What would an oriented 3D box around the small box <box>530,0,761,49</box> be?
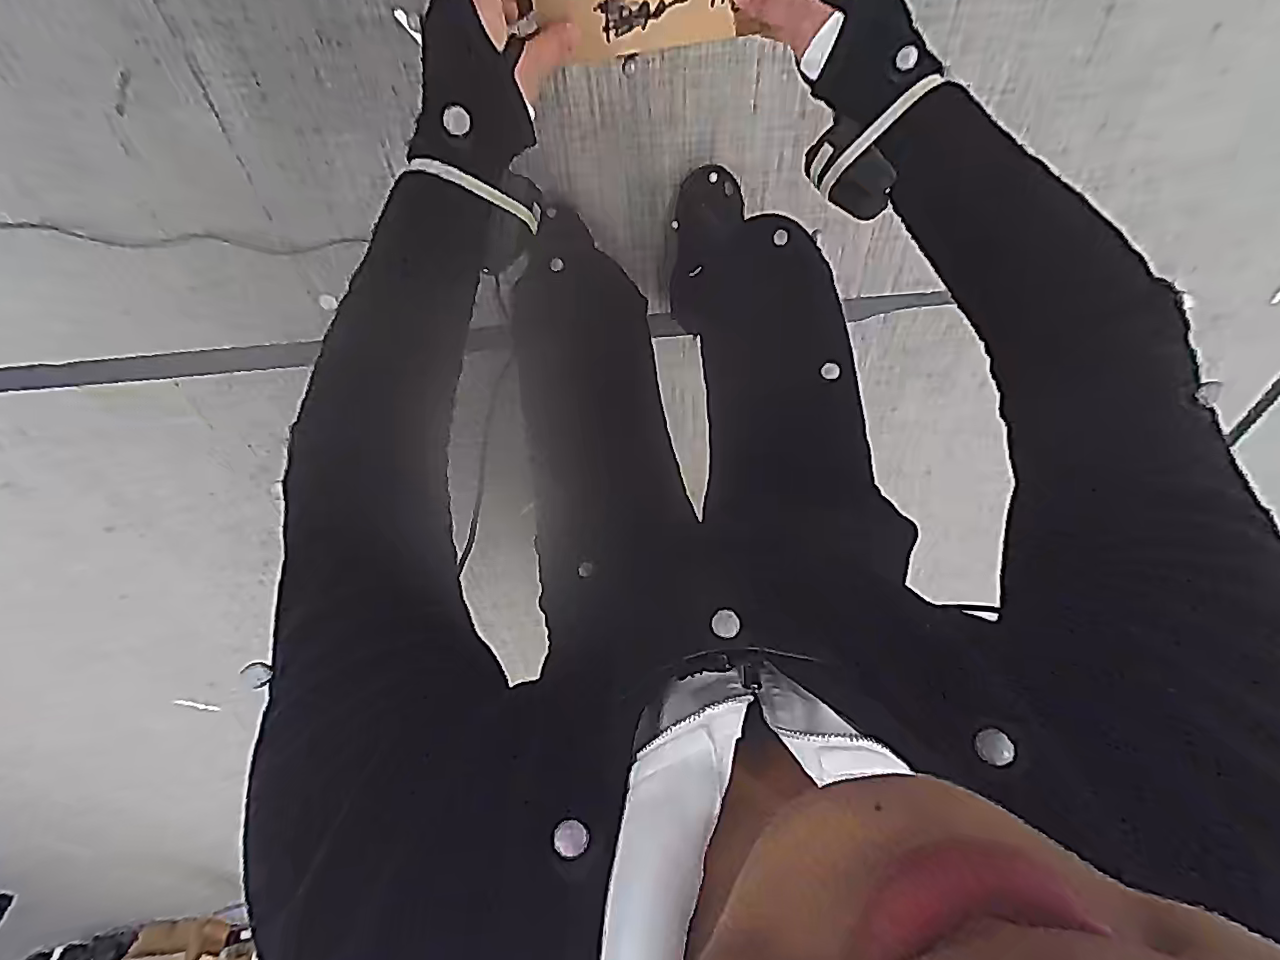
[{"bbox_3d":[-0.010,-0.439,0.399,0.168,0.176,0.179,-9,129,0],"label":"small box"}]
